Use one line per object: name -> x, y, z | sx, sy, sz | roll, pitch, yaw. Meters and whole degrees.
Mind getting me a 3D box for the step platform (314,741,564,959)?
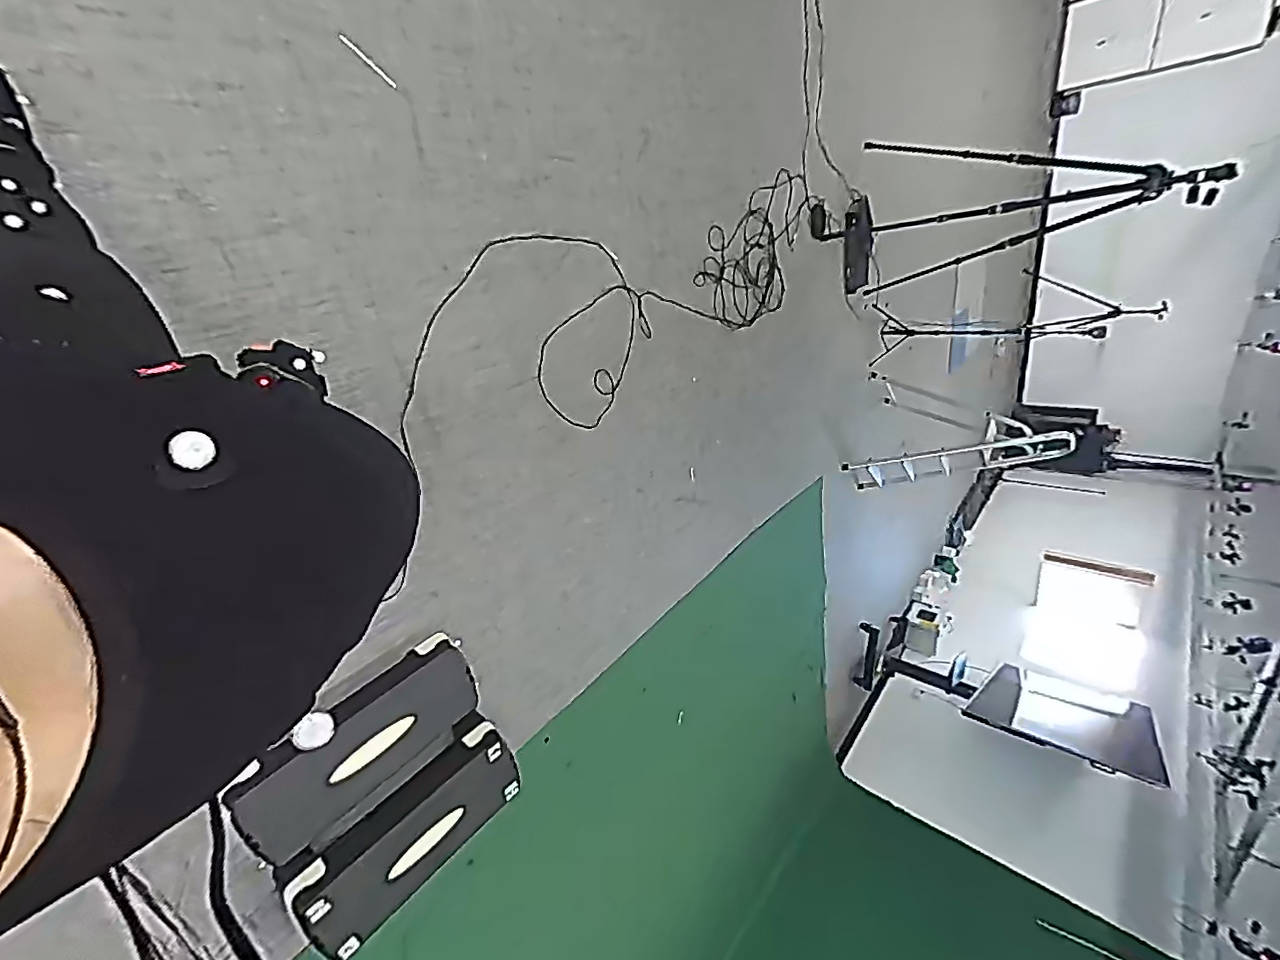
step platform -> -0.547, 1.110, 1.573 | 0.684, 0.204, 0.286 | -34, 124, -40
